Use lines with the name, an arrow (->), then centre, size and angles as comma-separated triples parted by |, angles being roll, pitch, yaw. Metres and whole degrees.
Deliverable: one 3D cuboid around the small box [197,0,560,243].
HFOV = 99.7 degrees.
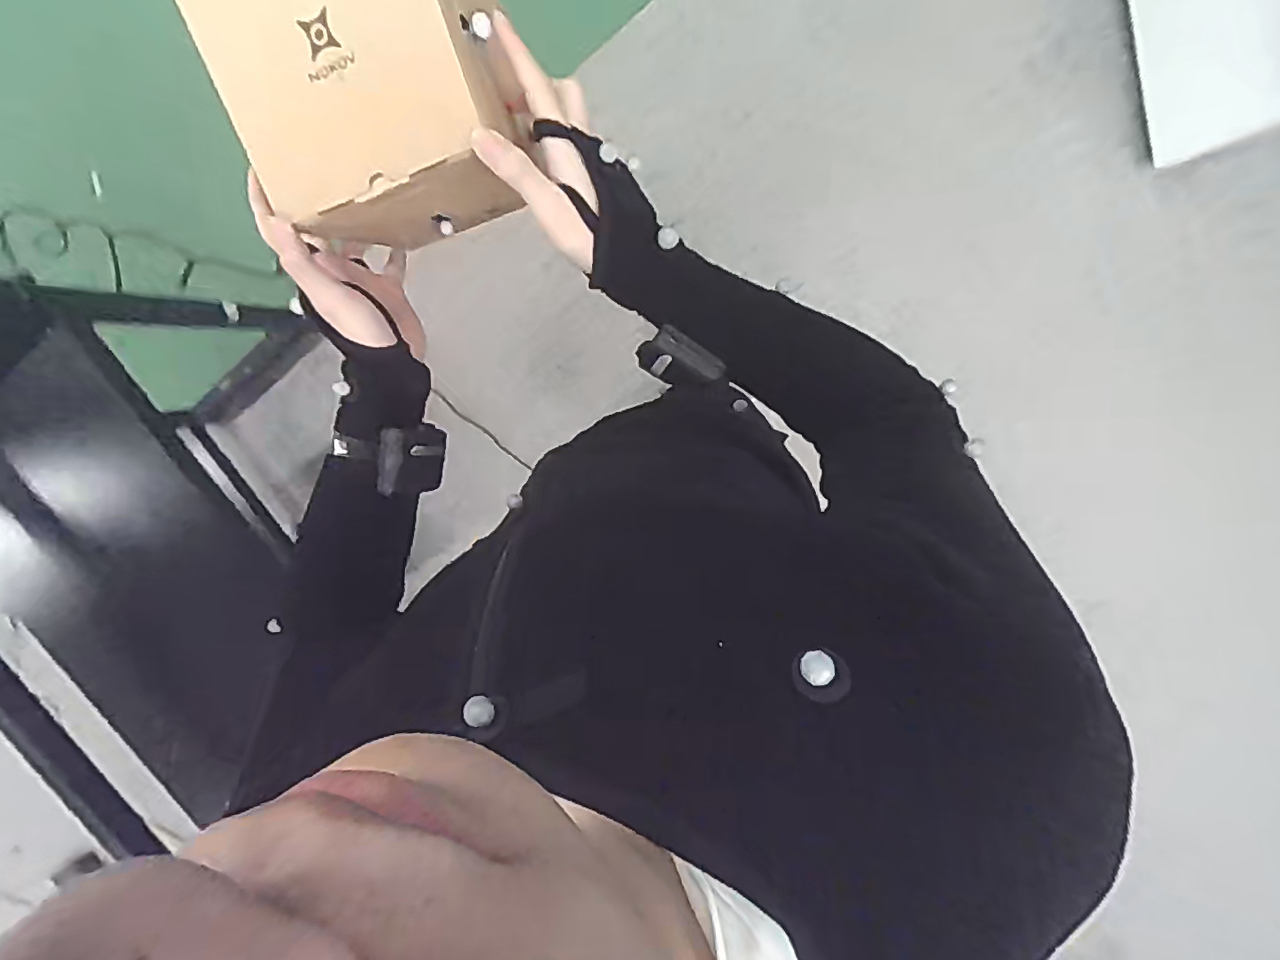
small box -> -0.180, -0.301, 0.417 | 0.168, 0.176, 0.179 | -13, 107, 12
